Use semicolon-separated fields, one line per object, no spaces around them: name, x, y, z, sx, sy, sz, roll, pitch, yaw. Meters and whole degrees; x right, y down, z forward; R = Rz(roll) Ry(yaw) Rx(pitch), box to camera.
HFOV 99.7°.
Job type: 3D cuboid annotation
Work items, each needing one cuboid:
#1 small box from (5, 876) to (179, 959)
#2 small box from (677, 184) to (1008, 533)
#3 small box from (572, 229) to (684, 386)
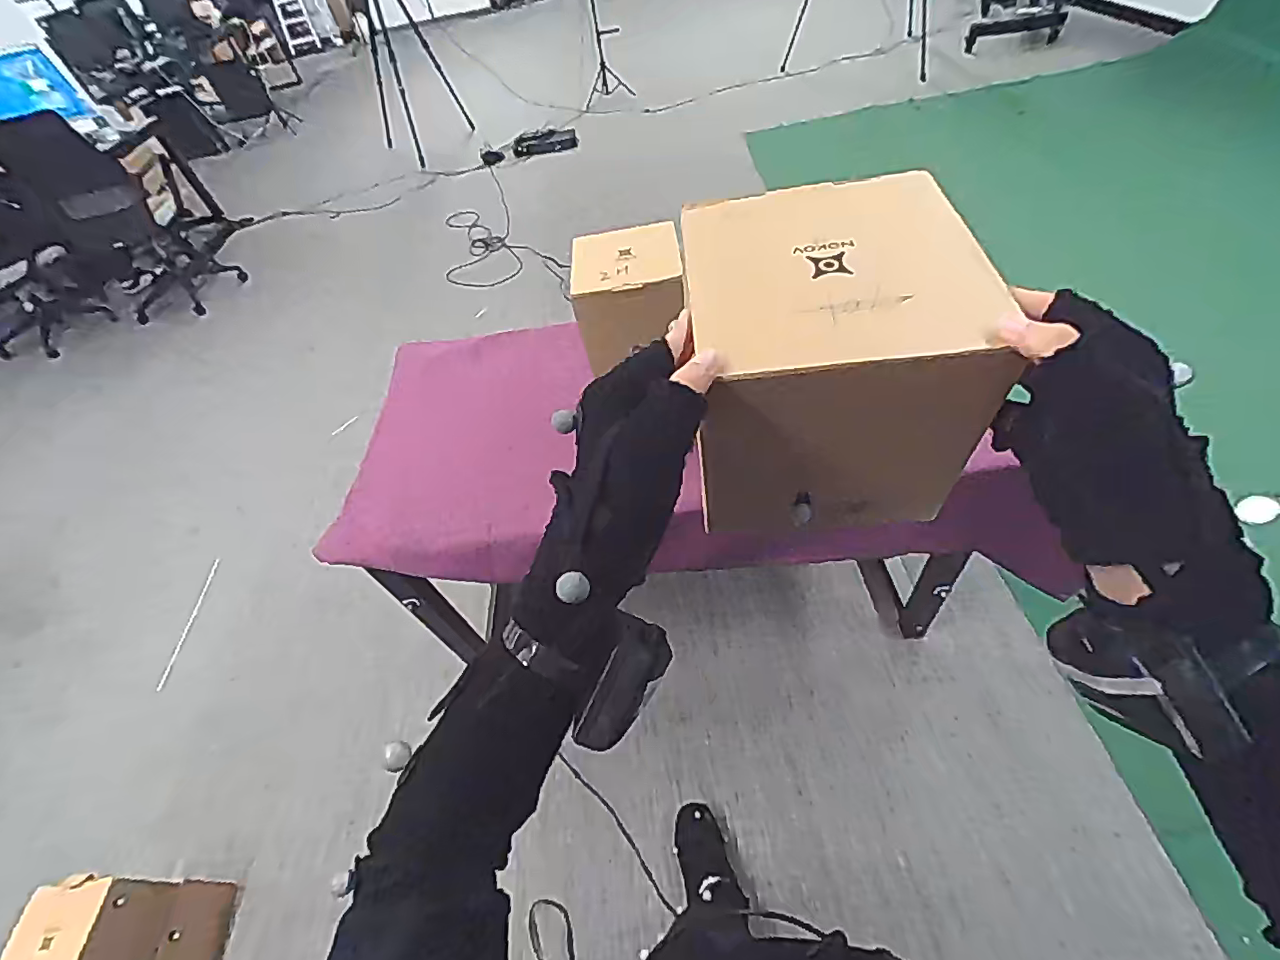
small box;-1.076;0.901;1.065;0.168;0.176;0.179;-10;49;3
small box;0.115;-0.081;0.393;0.168;0.176;0.179;-5;54;6
small box;-0.009;-0.279;0.885;0.168;0.176;0.179;-8;50;5
